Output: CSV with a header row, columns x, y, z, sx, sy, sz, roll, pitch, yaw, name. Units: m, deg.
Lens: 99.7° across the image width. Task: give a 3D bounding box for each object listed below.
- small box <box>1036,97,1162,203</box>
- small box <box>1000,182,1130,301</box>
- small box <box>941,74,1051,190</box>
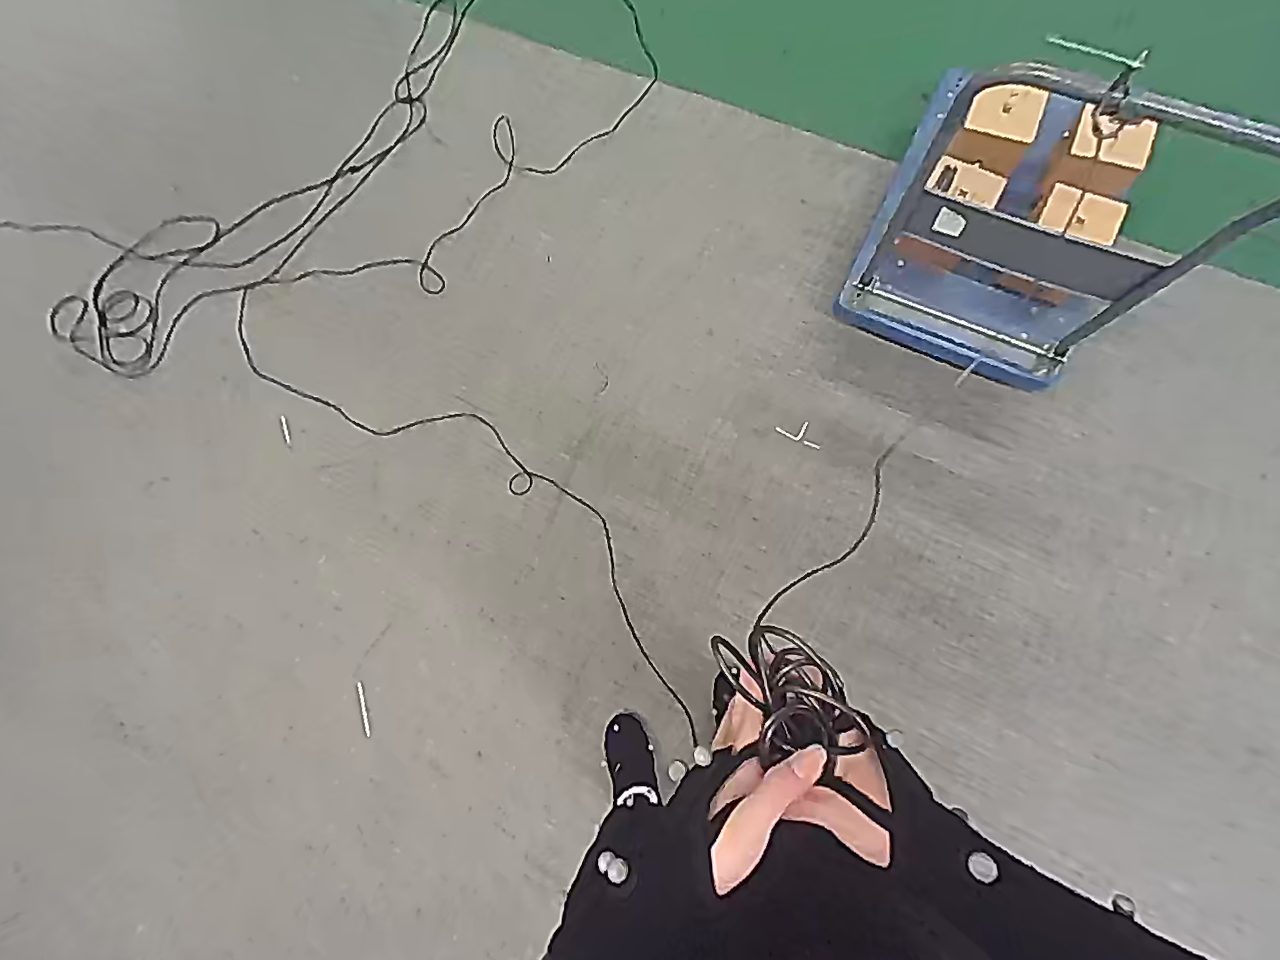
x,y,z,sx,sy,sz,roll,pitch,yaw,name
1.154,-0.815,1.373,0.168,0.176,0.179,22,80,11,small box
1.030,-0.579,1.327,0.168,0.176,0.179,27,81,11,small box
0.923,-0.905,1.420,0.168,0.176,0.179,22,79,10,small box
